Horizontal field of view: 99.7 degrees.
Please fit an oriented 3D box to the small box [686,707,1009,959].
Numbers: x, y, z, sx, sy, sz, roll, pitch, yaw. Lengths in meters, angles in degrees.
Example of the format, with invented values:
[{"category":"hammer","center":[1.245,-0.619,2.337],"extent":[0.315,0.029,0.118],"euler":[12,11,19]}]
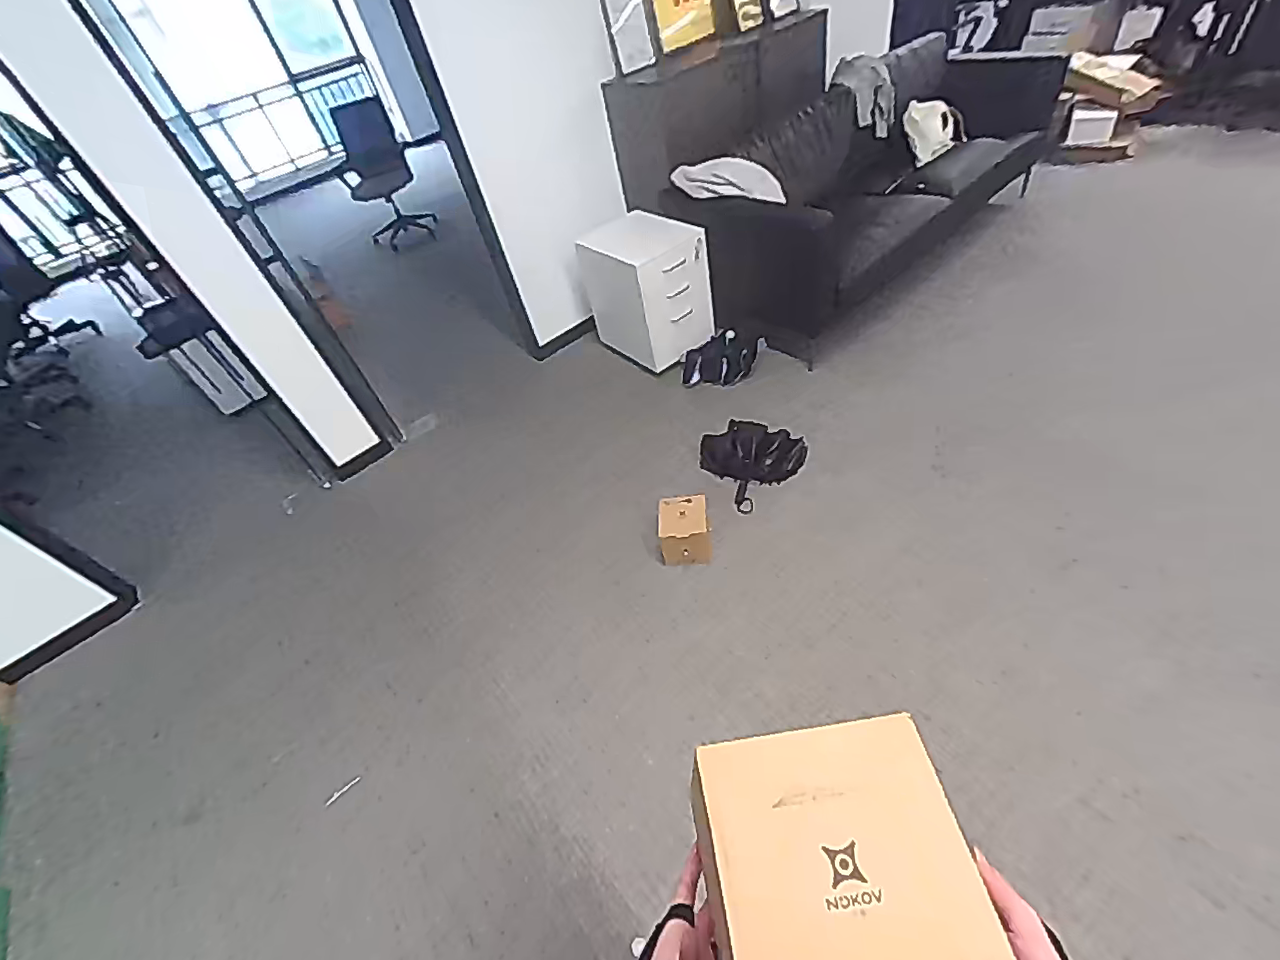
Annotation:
[{"category":"small box","center":[0.131,0.298,0.410],"extent":[0.168,0.176,0.179],"euler":[-8,50,-4]}]
